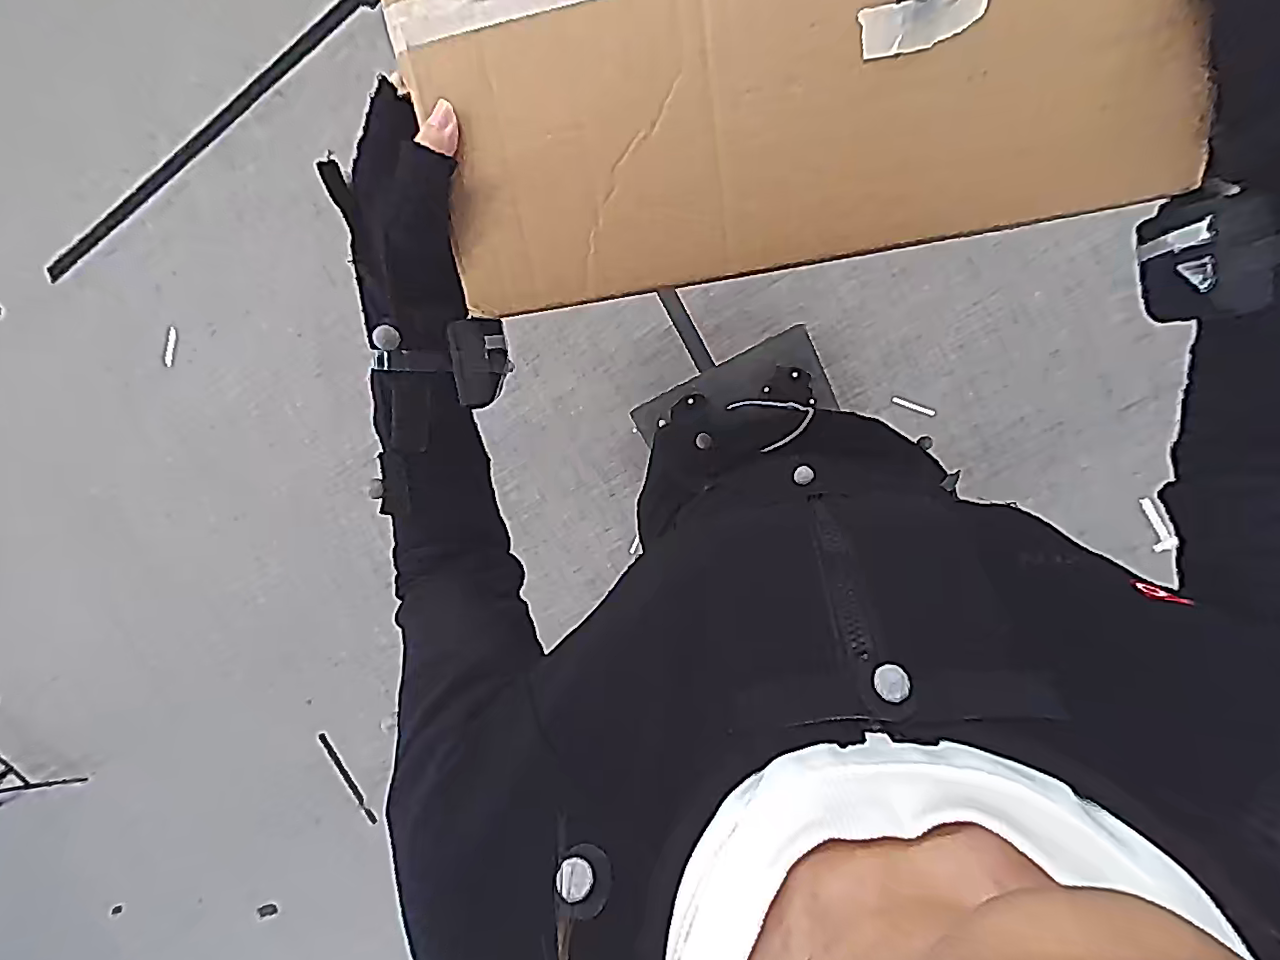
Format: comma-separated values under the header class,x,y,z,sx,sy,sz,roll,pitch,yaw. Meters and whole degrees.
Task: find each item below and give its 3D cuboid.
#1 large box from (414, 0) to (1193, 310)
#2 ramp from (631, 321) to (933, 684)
class,x,y,z,sx,sy,sz,roll,pitch,yaw
large box,0.083,-0.331,0.416,0.408,0.320,0.320,-7,110,9
ramp,0.422,0.120,1.513,0.509,0.206,0.991,-28,96,11
